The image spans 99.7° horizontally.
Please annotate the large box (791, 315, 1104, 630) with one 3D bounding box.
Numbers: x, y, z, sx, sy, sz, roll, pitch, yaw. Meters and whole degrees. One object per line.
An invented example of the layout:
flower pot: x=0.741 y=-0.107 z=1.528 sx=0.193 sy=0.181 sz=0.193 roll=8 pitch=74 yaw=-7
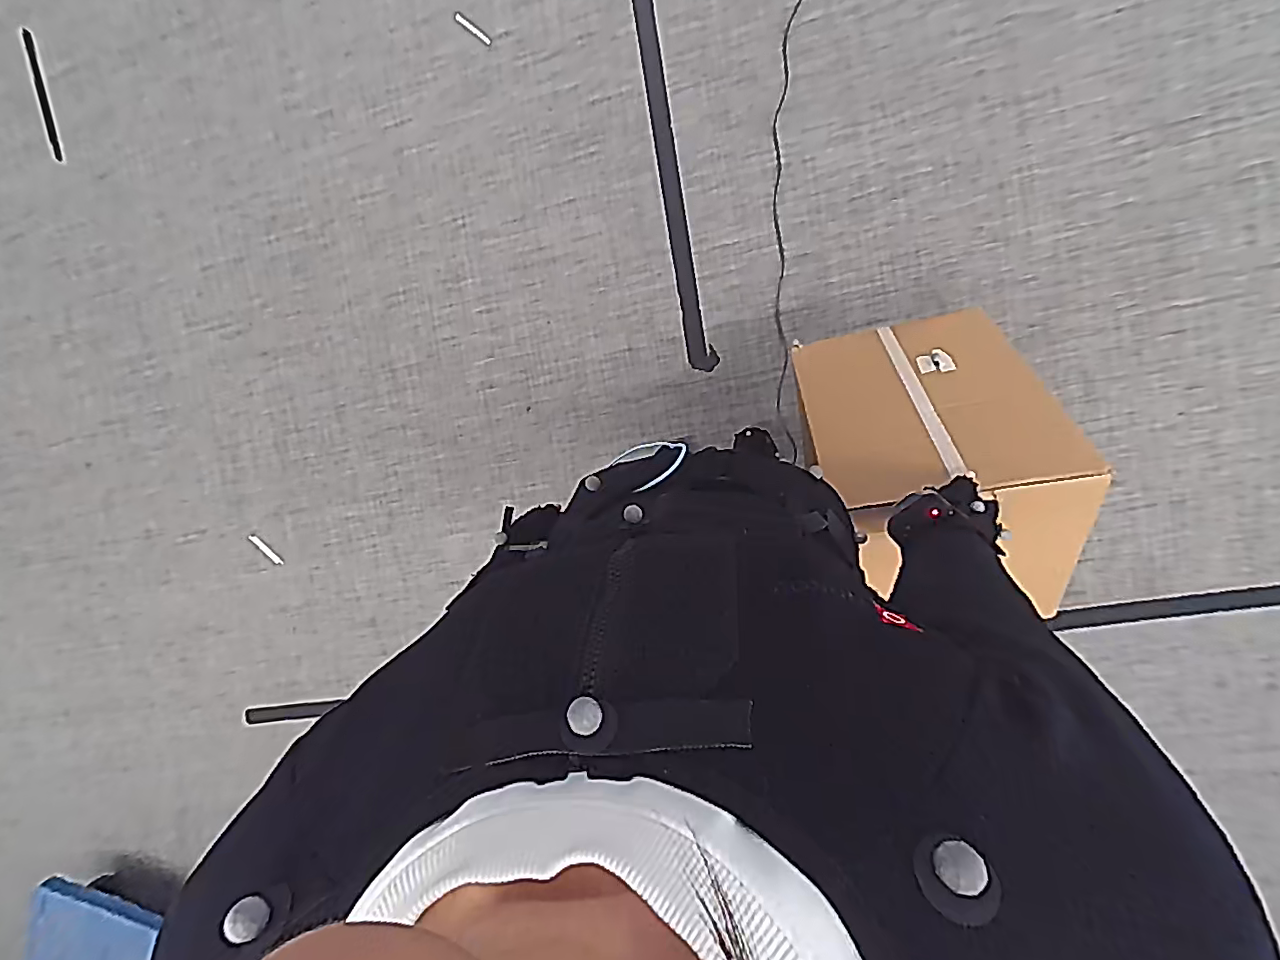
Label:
large box: x=0.456 y=-0.015 z=0.908 sx=0.320 sy=0.408 sz=0.320 roll=-9 pitch=132 yaw=13
